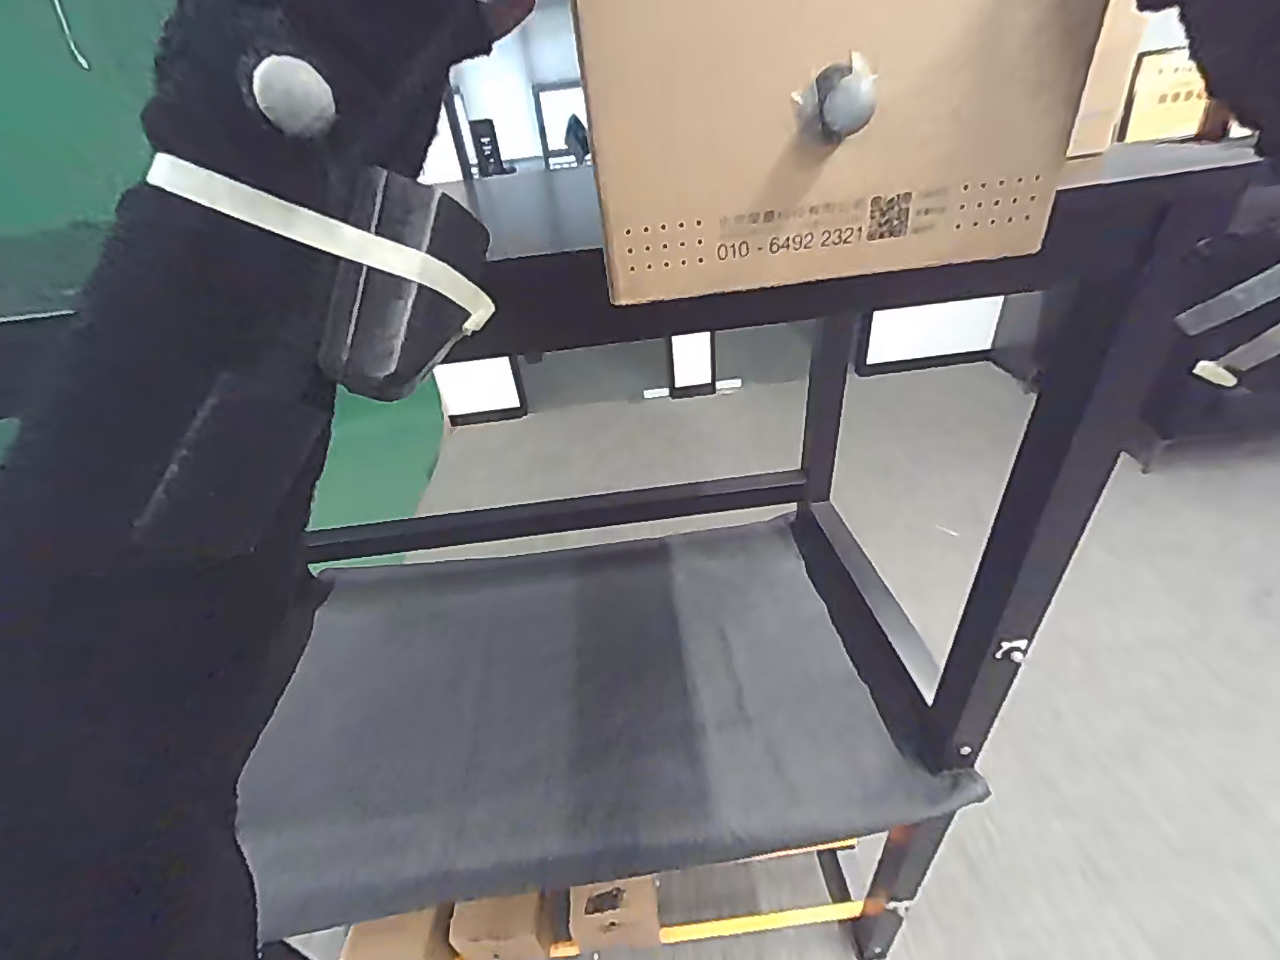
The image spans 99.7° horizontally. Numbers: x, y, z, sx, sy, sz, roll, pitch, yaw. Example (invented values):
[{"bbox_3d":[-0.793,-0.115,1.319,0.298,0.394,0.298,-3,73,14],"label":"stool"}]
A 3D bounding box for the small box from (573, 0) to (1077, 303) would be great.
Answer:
[{"bbox_3d":[0.057,-0.190,0.246,0.168,0.176,0.179,-7,34,1],"label":"small box"}]
